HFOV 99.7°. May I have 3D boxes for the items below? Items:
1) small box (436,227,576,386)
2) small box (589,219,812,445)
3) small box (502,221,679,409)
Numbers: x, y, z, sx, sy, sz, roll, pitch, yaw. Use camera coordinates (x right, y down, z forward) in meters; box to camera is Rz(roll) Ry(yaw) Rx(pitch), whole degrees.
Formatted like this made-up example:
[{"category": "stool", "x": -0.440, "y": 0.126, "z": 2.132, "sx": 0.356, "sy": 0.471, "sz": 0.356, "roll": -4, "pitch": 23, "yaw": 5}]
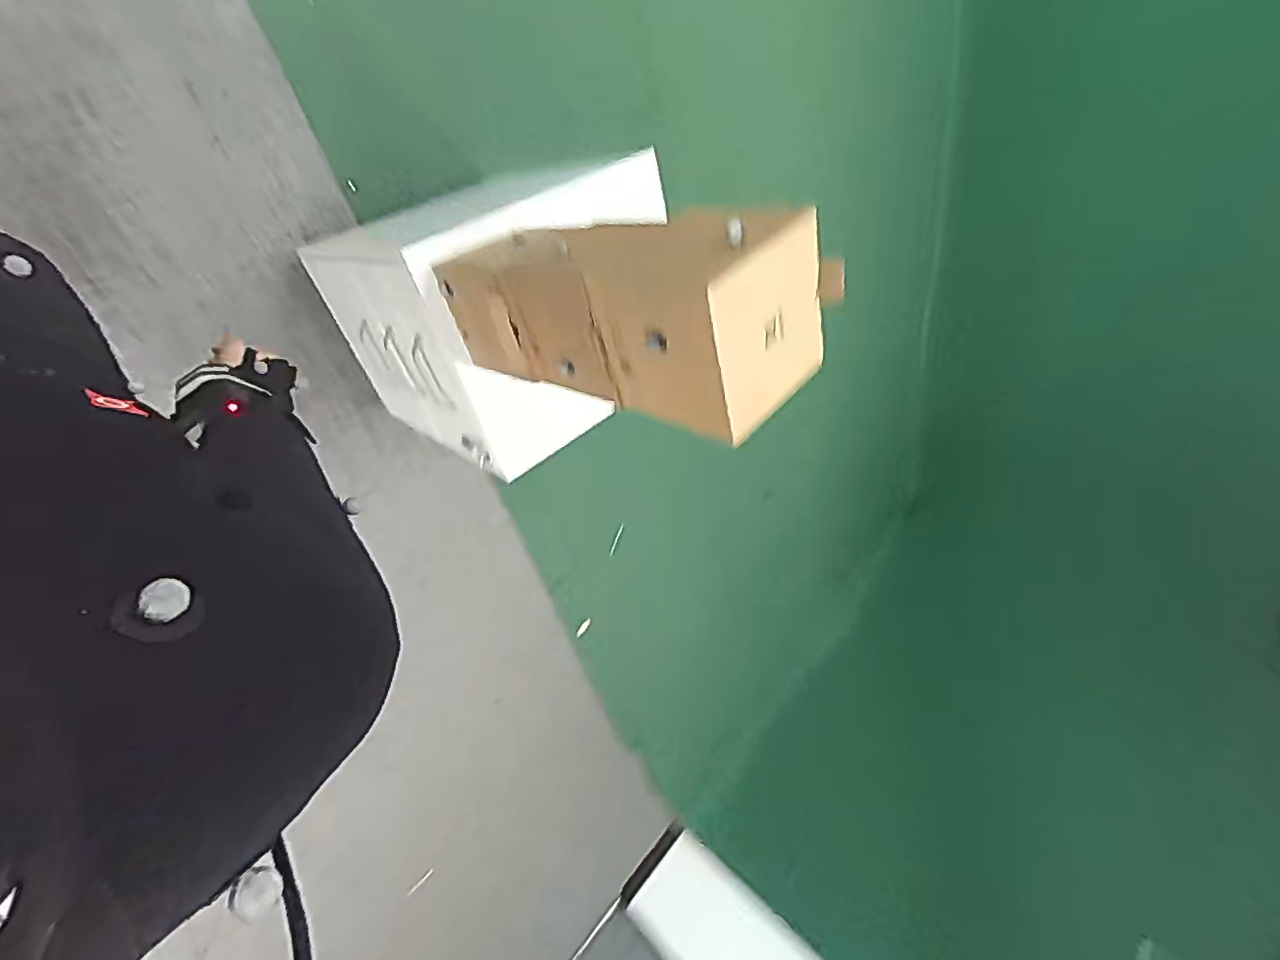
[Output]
[{"category": "small box", "x": -0.172, "y": -0.259, "z": 0.792, "sx": 0.179, "sy": 0.176, "sz": 0.168, "roll": -39, "pitch": 133, "yaw": -30}, {"category": "small box", "x": 0.065, "y": -0.168, "z": 0.589, "sx": 0.179, "sy": 0.176, "sz": 0.168, "roll": -42, "pitch": 135, "yaw": -27}, {"category": "small box", "x": -0.052, "y": -0.216, "z": 0.690, "sx": 0.179, "sy": 0.176, "sz": 0.168, "roll": -41, "pitch": 135, "yaw": -29}]
